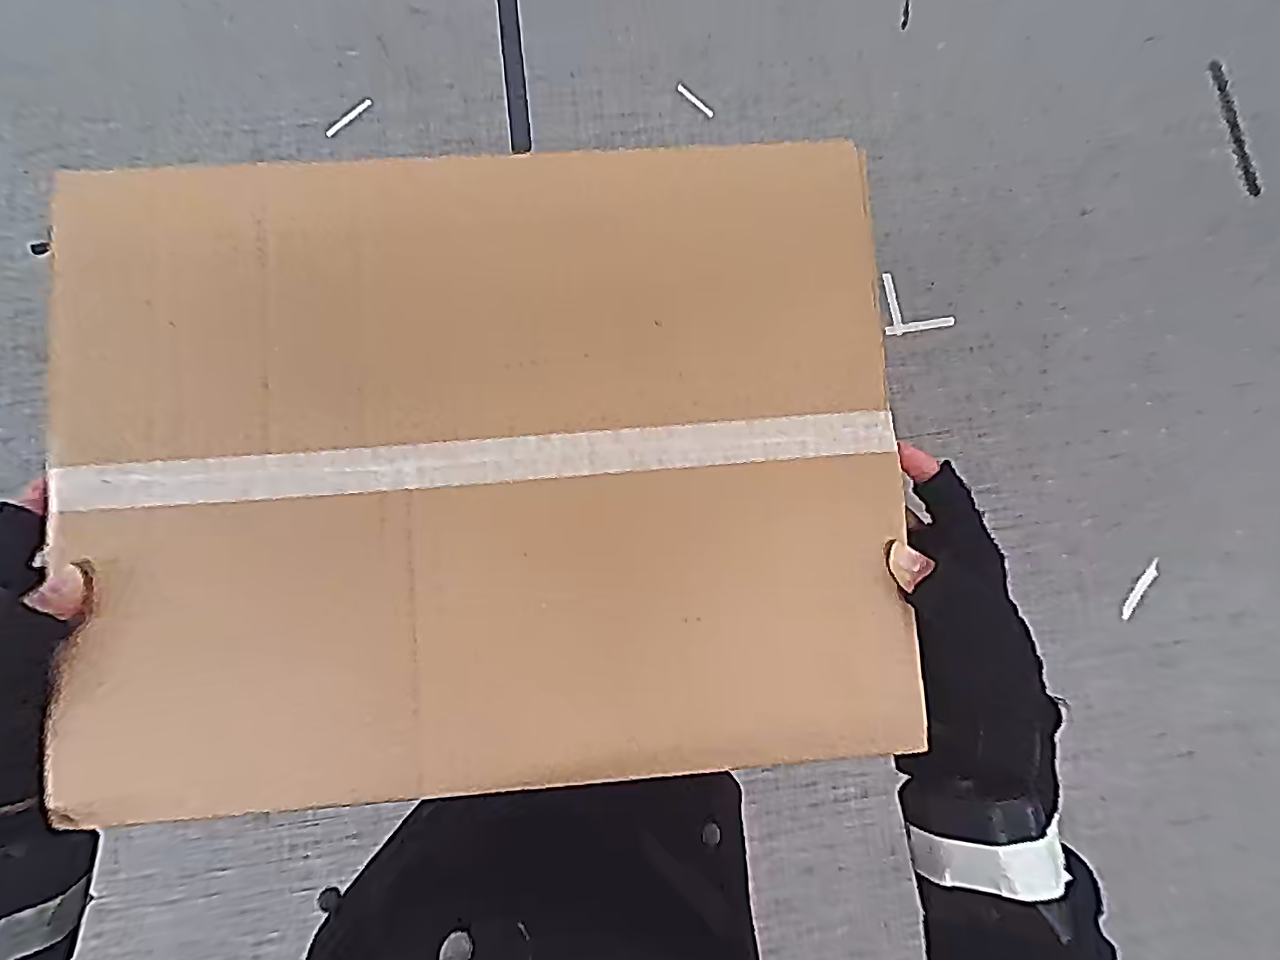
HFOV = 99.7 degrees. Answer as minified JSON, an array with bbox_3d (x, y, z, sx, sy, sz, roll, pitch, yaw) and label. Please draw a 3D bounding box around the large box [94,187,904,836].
[{"bbox_3d":[-0.076,0.016,0.429,0.408,0.320,0.320,-4,84,-3],"label":"large box"}]
